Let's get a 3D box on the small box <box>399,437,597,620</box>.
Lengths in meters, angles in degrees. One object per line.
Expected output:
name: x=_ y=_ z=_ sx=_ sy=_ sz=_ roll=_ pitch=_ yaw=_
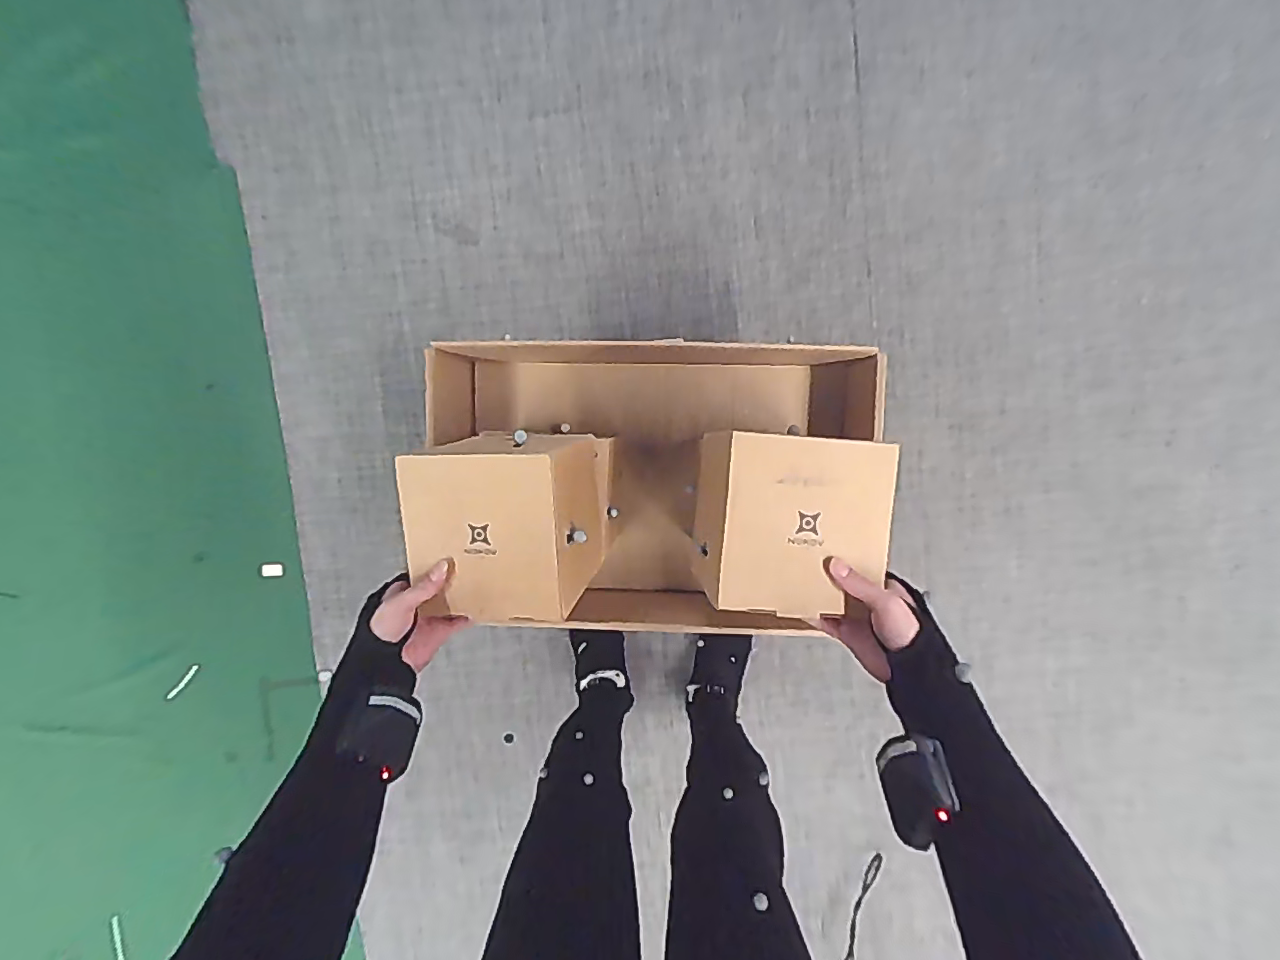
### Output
small box: x=-0.149 y=0.043 z=0.625 sx=0.168 sy=0.176 sz=0.179 roll=0 pitch=101 yaw=9

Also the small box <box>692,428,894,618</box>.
small box: x=0.154 y=0.039 z=0.602 sx=0.168 sy=0.176 sz=0.179 roll=5 pitch=93 yaw=-3

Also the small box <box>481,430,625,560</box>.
small box: x=-0.124 y=0.016 z=0.798 sx=0.179 sy=0.176 sz=0.168 roll=4 pitch=95 yaw=5
